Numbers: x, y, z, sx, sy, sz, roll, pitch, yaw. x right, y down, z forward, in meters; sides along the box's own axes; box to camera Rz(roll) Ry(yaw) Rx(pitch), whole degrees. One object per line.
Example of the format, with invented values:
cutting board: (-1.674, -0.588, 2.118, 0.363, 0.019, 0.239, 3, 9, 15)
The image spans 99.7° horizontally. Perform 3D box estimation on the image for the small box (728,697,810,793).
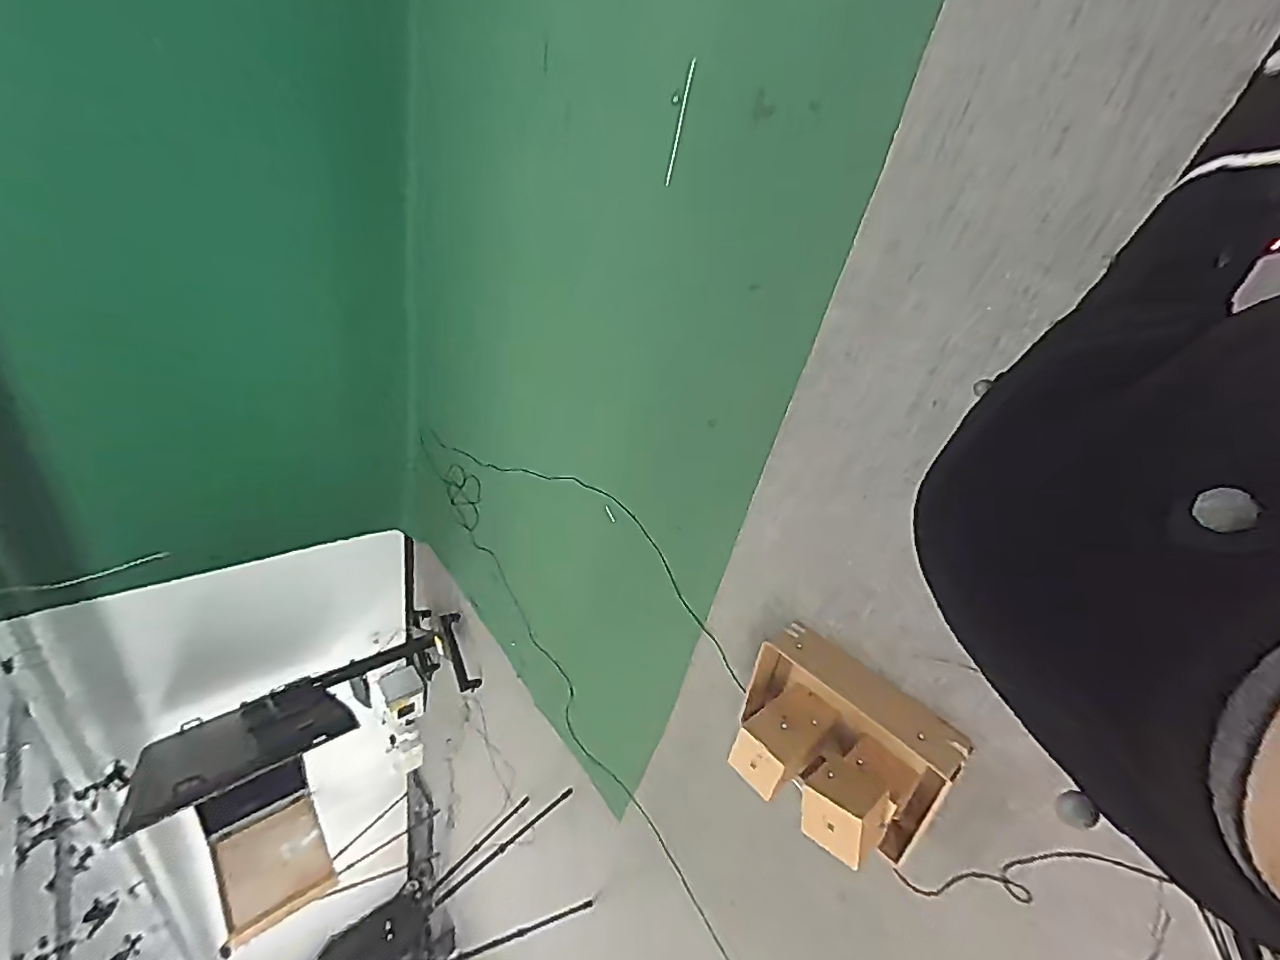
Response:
small box: (0.411, 0.833, 1.712, 0.168, 0.176, 0.179, 35, 125, 37)

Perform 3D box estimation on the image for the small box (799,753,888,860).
small box: (0.580, 0.917, 1.546, 0.179, 0.176, 0.168, 14, 110, 47)

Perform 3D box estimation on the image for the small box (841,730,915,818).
small box: (0.704, 0.907, 1.652, 0.179, 0.176, 0.168, 34, 124, 40)
